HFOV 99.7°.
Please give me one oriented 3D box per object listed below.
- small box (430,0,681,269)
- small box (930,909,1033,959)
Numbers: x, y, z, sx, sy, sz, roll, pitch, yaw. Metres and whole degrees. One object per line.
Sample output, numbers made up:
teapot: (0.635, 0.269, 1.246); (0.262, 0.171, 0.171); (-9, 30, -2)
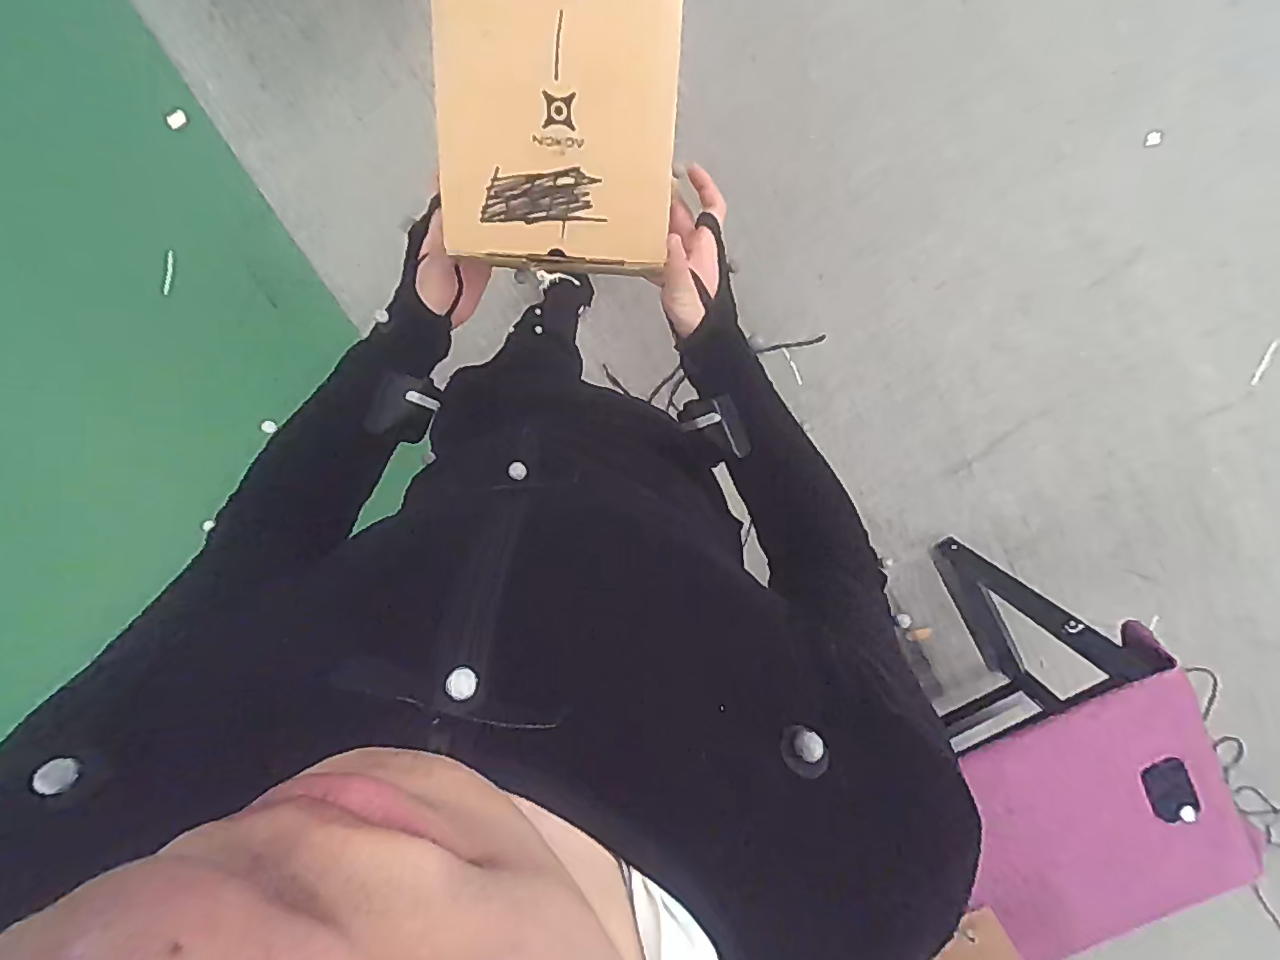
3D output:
small box: (-0.059, -0.275, 0.446); (0.168, 0.176, 0.179); (3, 108, -2)
small box: (0.735, 1.033, 1.098); (0.168, 0.176, 0.179); (-32, 103, 7)
